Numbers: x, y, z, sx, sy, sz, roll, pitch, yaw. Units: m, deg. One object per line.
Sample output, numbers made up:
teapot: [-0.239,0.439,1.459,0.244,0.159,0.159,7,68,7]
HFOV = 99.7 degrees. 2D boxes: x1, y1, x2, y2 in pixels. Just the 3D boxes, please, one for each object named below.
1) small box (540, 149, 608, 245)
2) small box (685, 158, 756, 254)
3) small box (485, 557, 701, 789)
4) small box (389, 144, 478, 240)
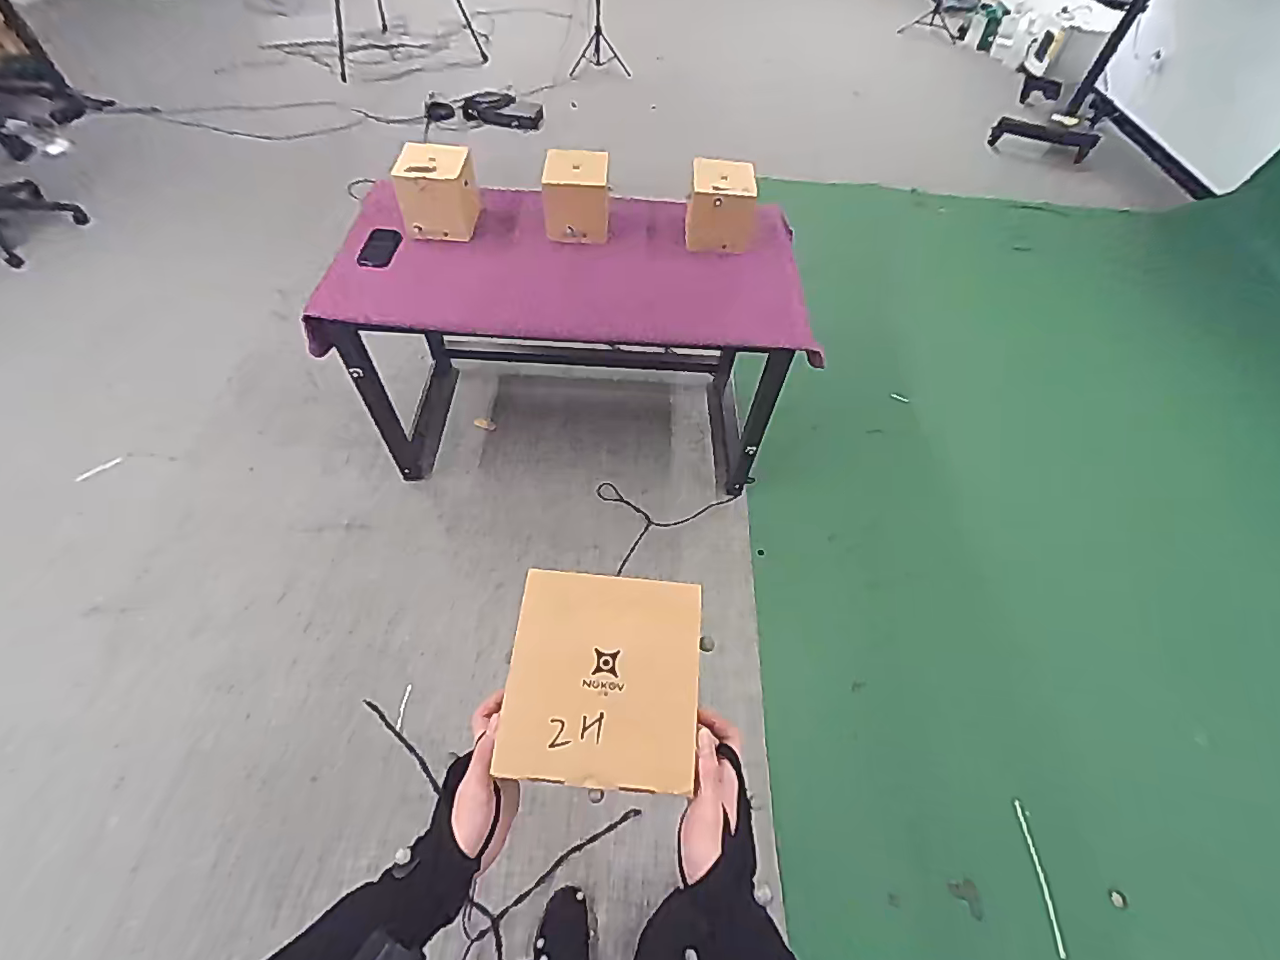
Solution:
small box: [-0.175,-0.769,1.472,0.168,0.176,0.179,2,56,-2]
small box: [0.214,-0.751,1.484,0.168,0.176,0.179,3,55,0]
small box: [-0.036,0.193,0.533,0.168,0.176,0.179,5,63,2]
small box: [-0.539,-0.764,1.440,0.168,0.176,0.179,2,55,-3]
